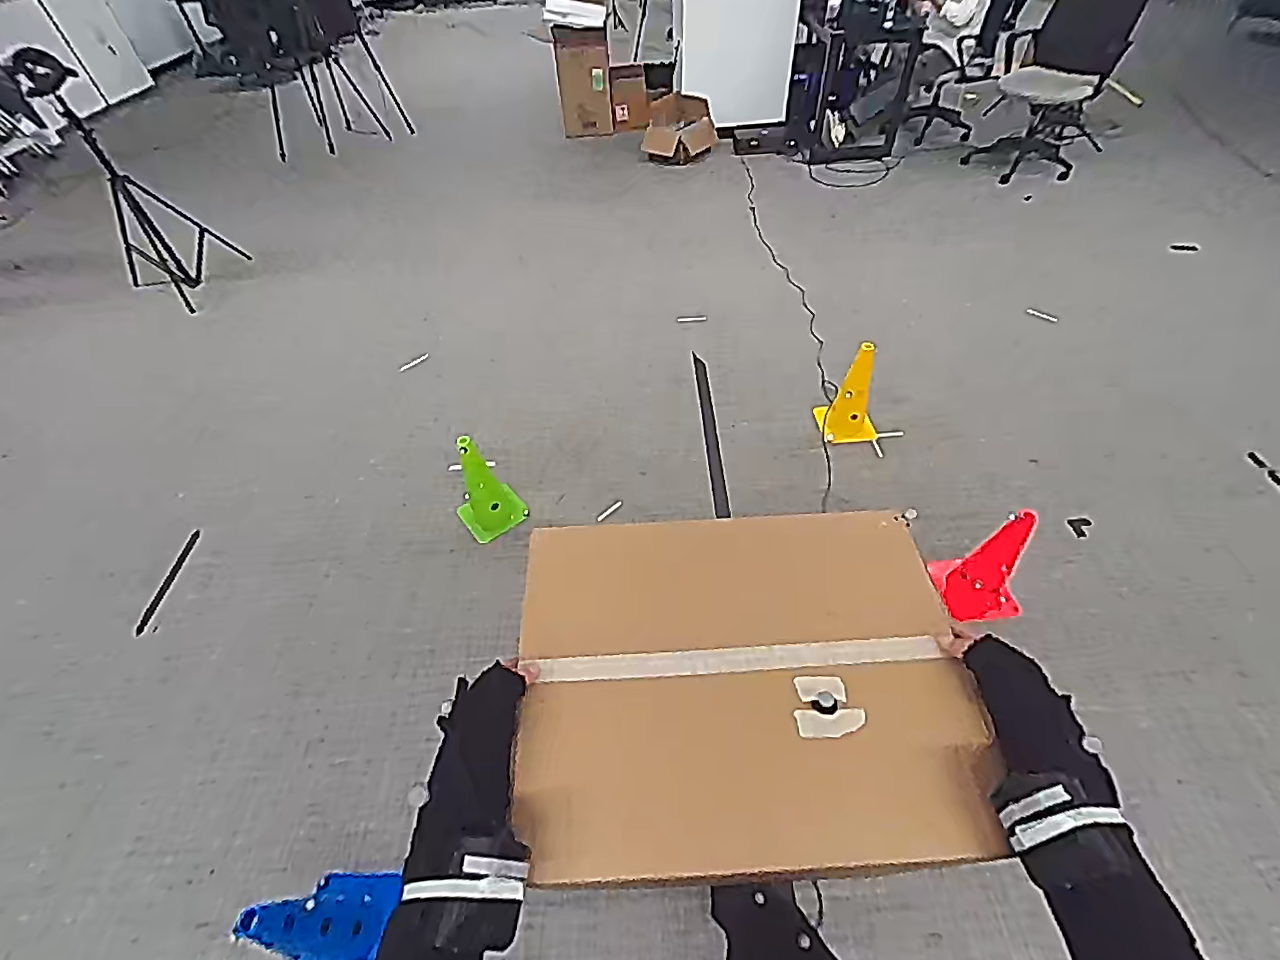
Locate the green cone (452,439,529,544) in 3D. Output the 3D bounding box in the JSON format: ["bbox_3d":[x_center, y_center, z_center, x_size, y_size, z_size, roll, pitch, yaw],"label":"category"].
[{"bbox_3d":[-0.528,0.004,1.758,0.202,0.368,0.200,-35,54,-22],"label":"green cone"}]

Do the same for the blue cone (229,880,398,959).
[{"bbox_3d":[-0.634,0.861,1.027,0.192,0.380,0.193,-2,48,4],"label":"blue cone"}]

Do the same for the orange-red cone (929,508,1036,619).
[{"bbox_3d":[0.969,0.201,1.468,0.198,0.360,0.199,-5,47,-1],"label":"orange-red cone"}]

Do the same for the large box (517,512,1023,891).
[{"bbox_3d":[0.095,0.260,0.622,0.408,0.320,0.320,-3,52,-1],"label":"large box"}]
